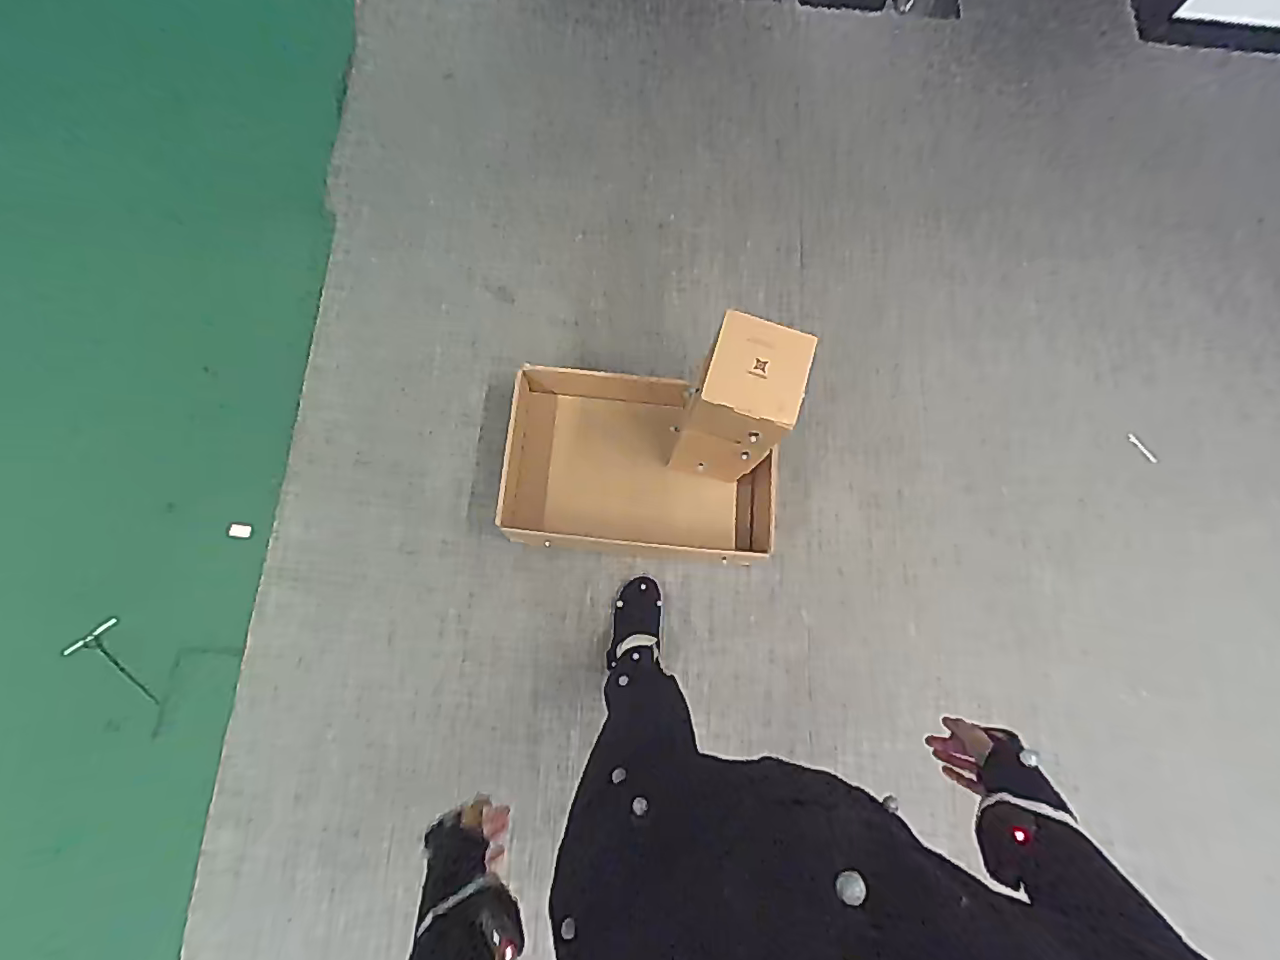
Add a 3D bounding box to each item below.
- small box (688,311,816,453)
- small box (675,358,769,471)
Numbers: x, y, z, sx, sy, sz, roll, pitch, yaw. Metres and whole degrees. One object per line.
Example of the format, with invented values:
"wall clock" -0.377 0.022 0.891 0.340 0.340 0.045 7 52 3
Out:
"small box" 0.192 -0.166 0.978 0.168 0.176 0.179 19 77 0
"small box" 0.181 -0.129 1.137 0.179 0.176 0.168 16 78 0
